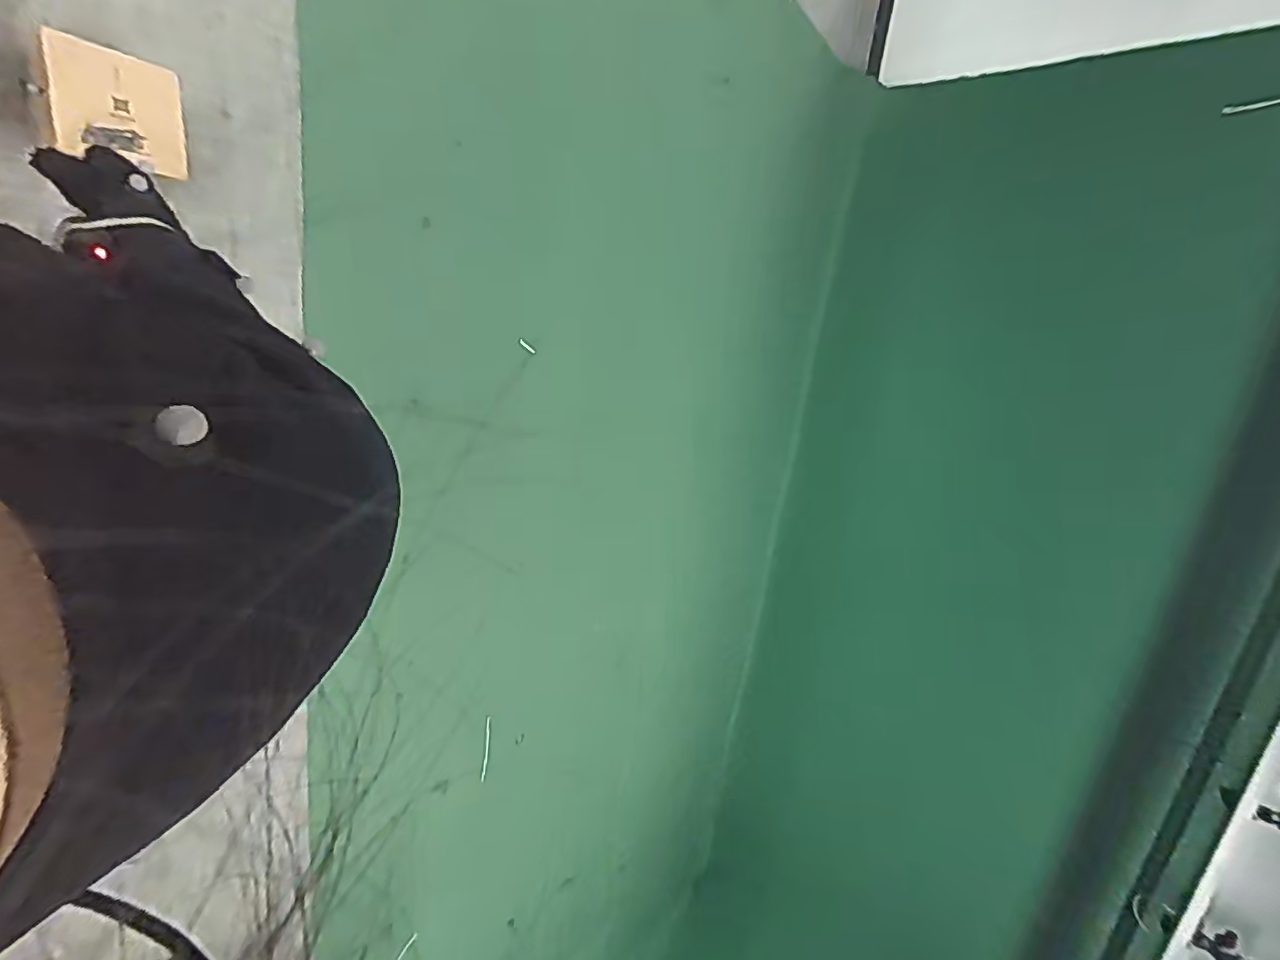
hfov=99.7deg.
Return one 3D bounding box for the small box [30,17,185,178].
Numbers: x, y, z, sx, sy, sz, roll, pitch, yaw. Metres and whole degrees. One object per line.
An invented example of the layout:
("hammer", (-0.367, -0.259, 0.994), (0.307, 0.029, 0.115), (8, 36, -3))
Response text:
("small box", (-0.920, -0.643, 0.939), (0.168, 0.176, 0.179), (-11, 114, -50))
